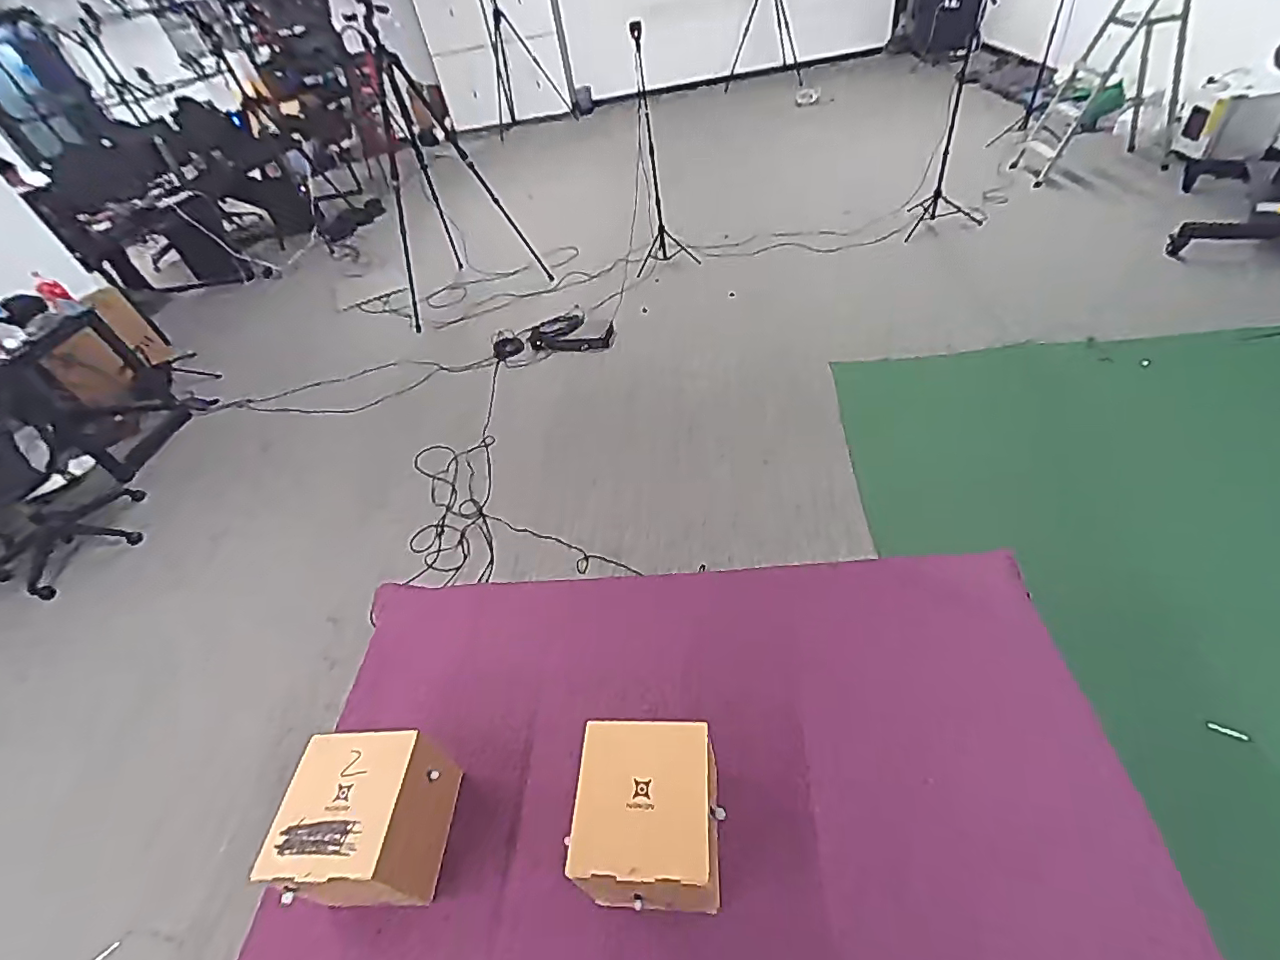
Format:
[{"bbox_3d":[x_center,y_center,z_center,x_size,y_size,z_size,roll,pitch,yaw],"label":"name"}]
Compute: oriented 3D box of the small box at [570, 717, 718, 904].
[{"bbox_3d":[0.016,0.437,0.719,0.168,0.176,0.179,-3,45,9],"label":"small box"}]
